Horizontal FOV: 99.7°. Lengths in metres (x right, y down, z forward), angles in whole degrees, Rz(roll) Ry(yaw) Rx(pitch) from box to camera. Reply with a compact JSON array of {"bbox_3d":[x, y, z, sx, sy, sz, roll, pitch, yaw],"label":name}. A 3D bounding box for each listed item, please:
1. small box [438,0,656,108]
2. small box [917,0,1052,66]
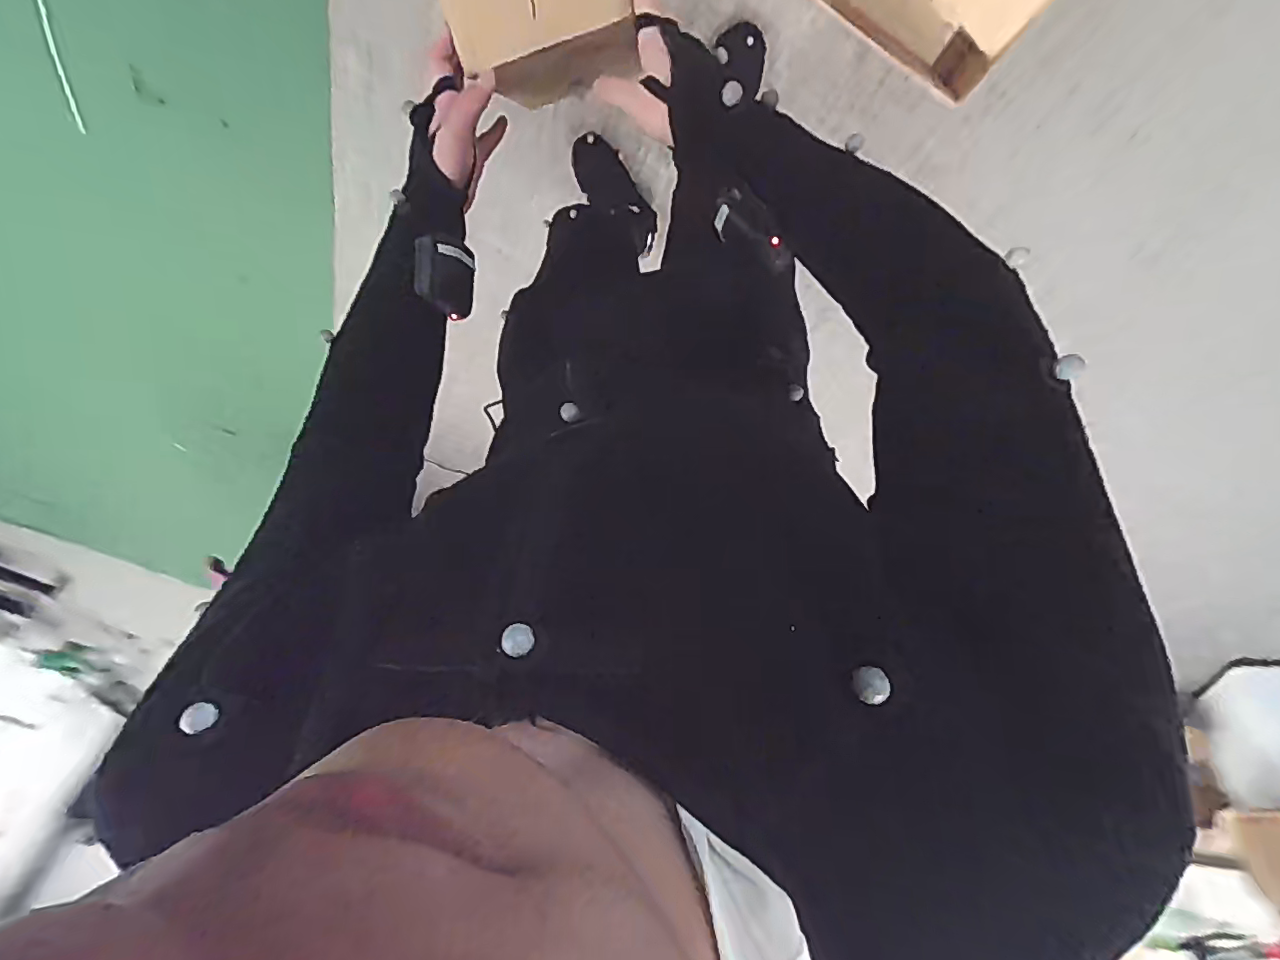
[{"bbox_3d":[-0.089,-0.488,0.512,0.168,0.176,0.179,-7,114,15],"label":"small box"},{"bbox_3d":[0.409,-0.632,0.616,0.168,0.176,0.179,28,137,-16],"label":"small box"}]
